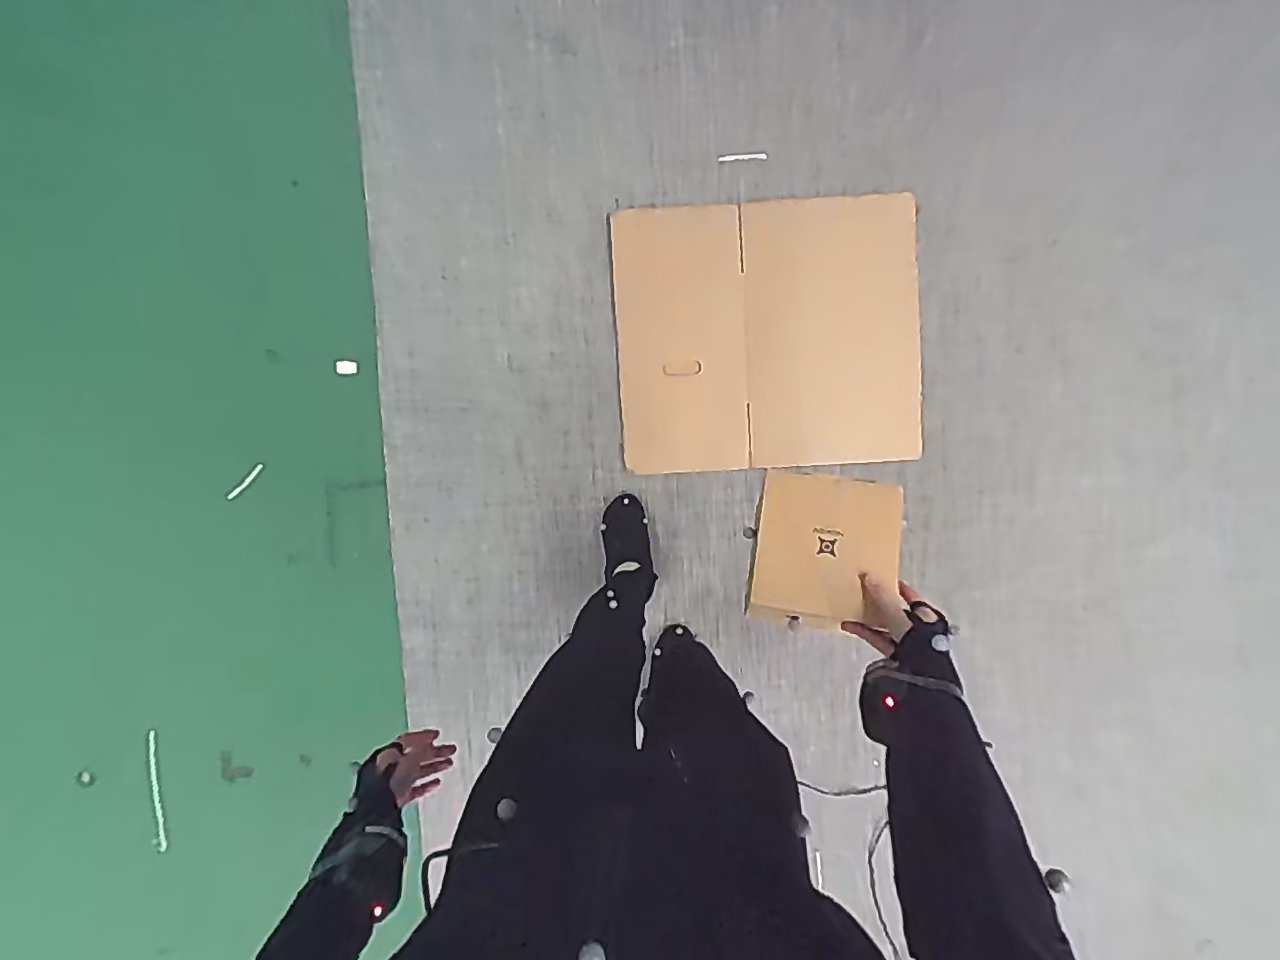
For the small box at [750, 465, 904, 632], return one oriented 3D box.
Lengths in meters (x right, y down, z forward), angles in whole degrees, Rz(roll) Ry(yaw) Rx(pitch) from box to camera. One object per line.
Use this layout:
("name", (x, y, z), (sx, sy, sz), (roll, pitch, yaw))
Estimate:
("small box", (0.238, 0.098, 0.716), (0.168, 0.176, 0.179), (7, 70, 12))
